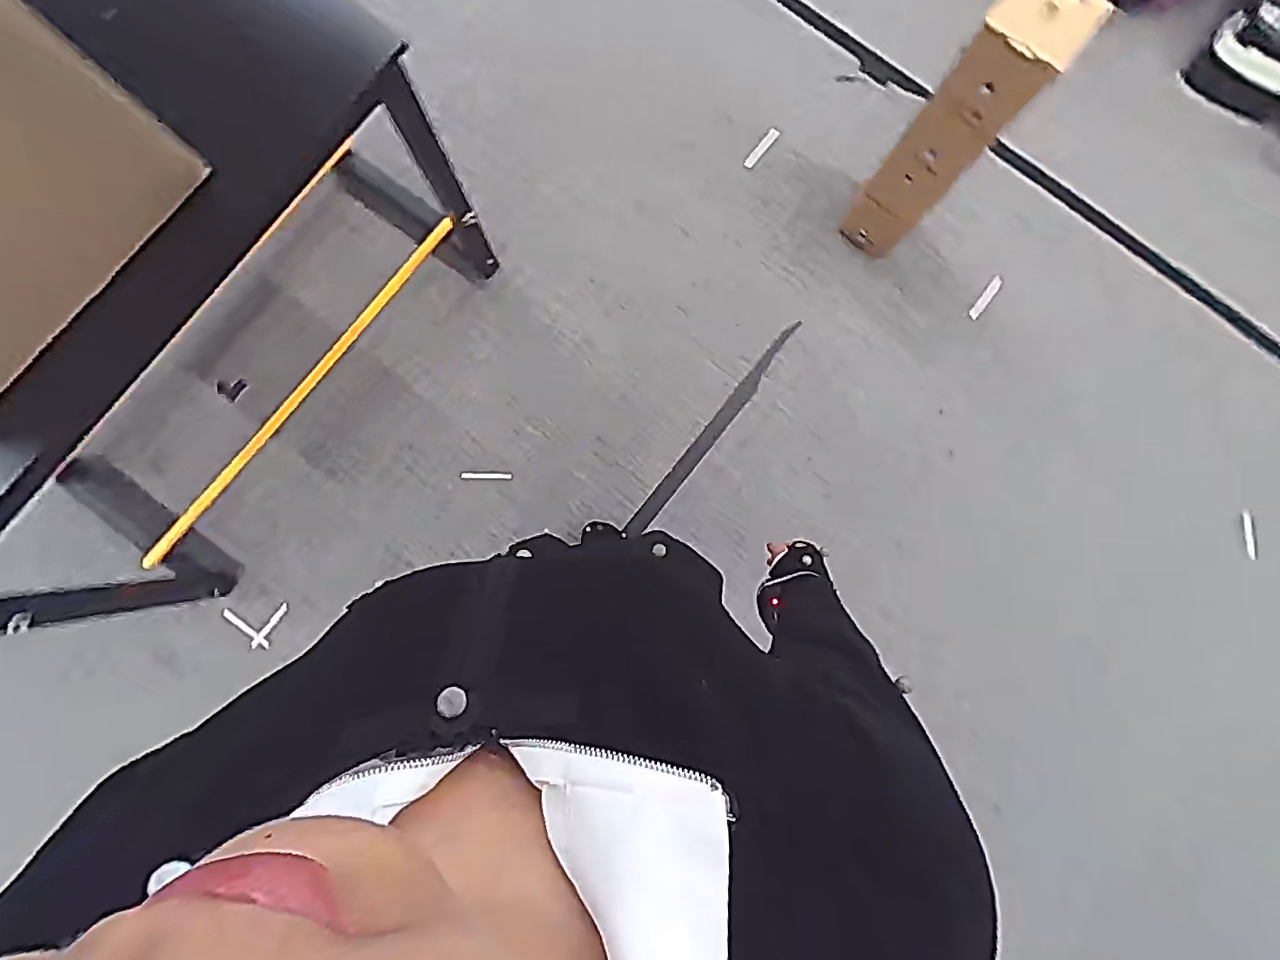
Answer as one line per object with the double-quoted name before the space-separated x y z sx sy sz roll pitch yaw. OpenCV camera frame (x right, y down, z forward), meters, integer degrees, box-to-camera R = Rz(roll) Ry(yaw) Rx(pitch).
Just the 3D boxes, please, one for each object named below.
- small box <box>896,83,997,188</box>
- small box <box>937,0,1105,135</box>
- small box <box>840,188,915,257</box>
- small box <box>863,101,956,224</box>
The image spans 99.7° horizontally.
"small box" 0.712 -0.805 1.201 0.168 0.176 0.179 40 85 3
"small box" 0.713 -0.819 1.038 0.168 0.176 0.179 37 86 2
"small box" 0.697 -0.775 1.529 0.168 0.176 0.179 32 86 2
"small box" 0.703 -0.790 1.365 0.179 0.176 0.168 37 85 2
